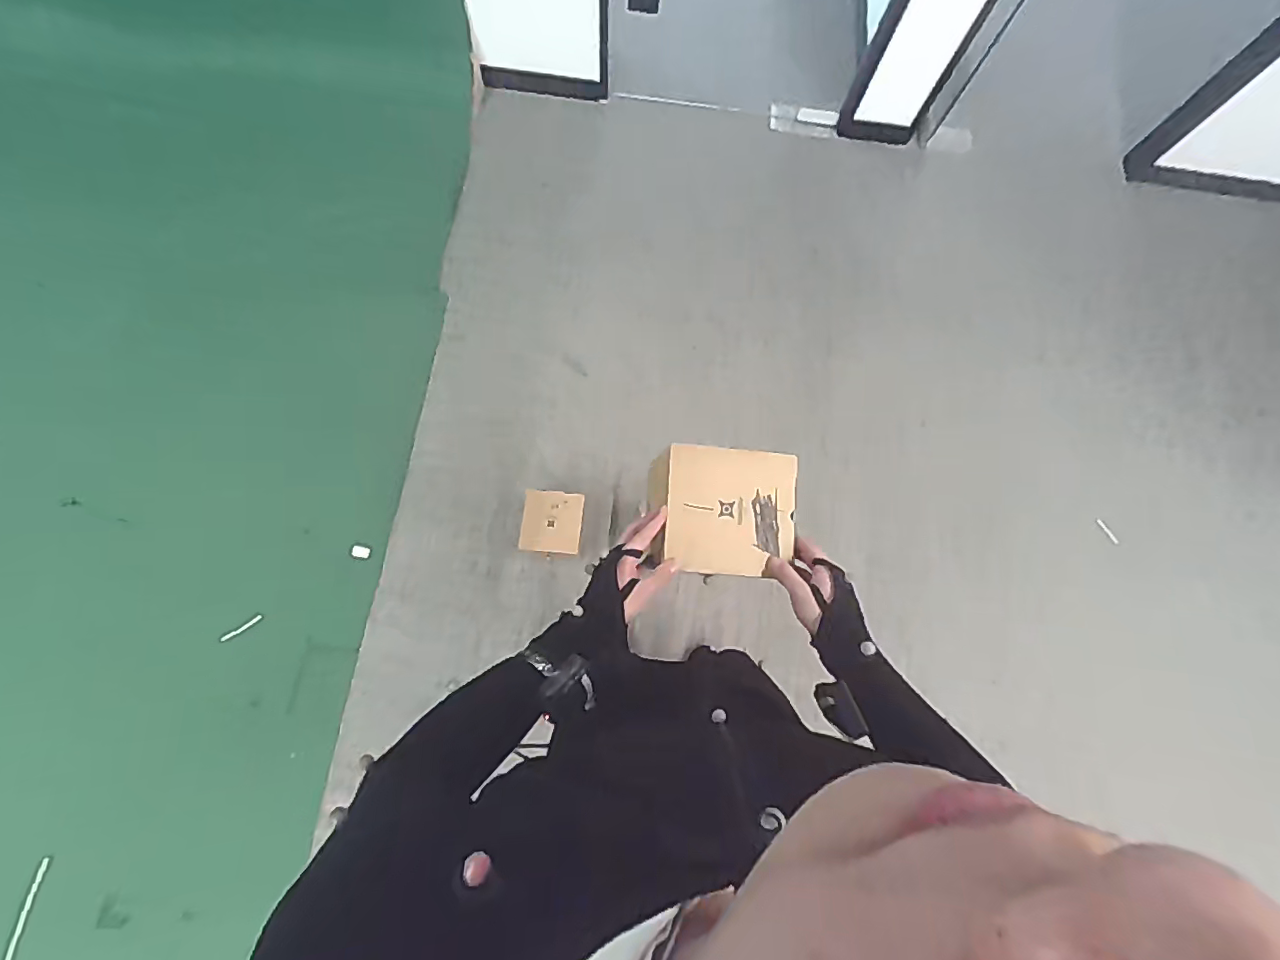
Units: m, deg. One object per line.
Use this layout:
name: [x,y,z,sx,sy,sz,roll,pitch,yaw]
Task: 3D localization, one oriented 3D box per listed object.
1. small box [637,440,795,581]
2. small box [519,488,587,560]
small box: [0.098,0.049,0.758,0.179,0.176,0.168,6,80,-7]
small box: [-0.247,0.135,1.579,0.168,0.176,0.179,7,75,-2]
